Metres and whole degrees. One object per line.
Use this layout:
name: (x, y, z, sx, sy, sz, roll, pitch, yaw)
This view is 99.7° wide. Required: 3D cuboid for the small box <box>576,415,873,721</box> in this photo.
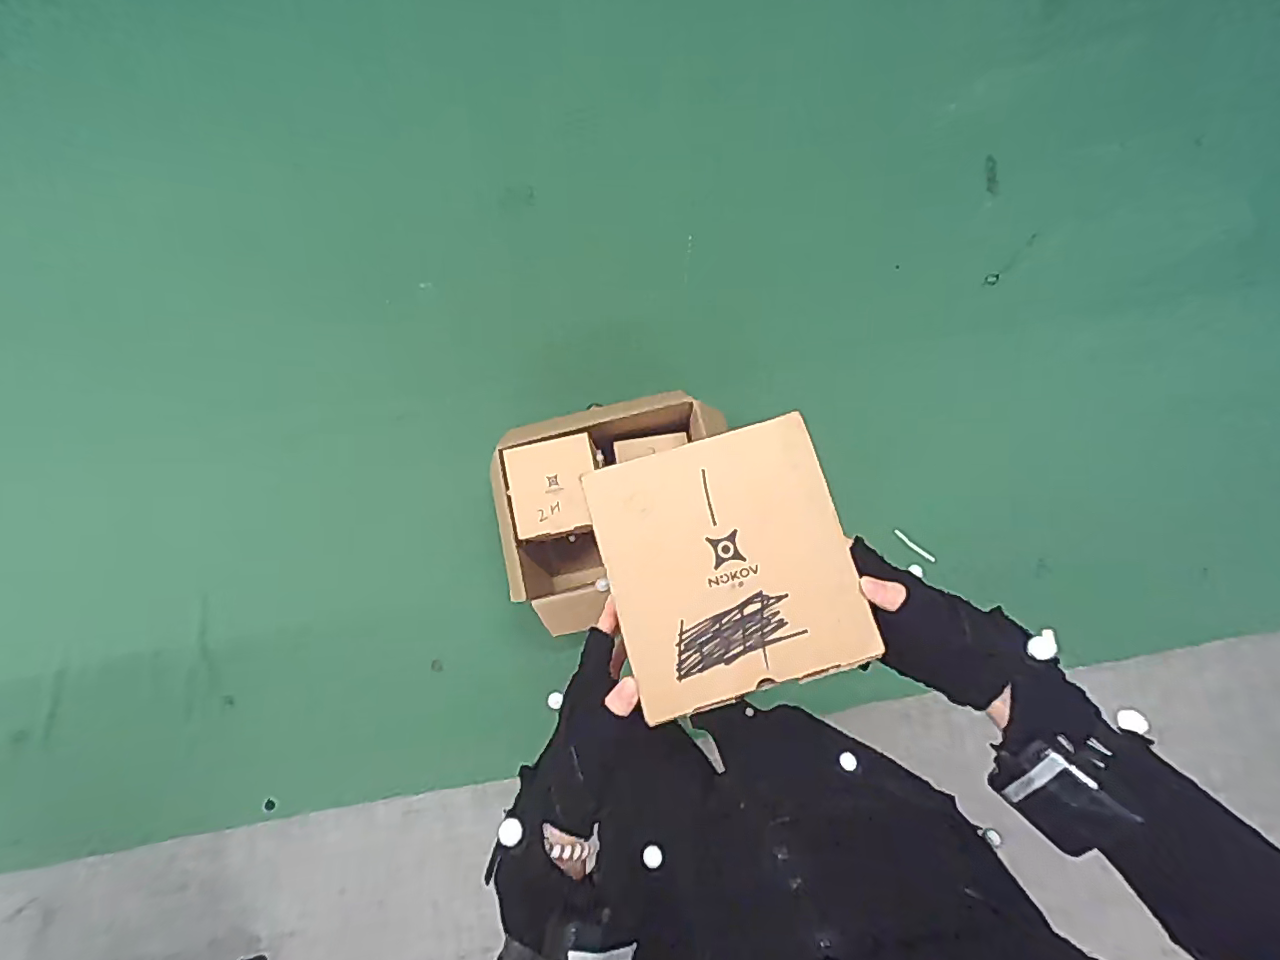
small box: (0.056, 0.068, 0.446, 0.168, 0.176, 0.179, -16, 80, -2)
